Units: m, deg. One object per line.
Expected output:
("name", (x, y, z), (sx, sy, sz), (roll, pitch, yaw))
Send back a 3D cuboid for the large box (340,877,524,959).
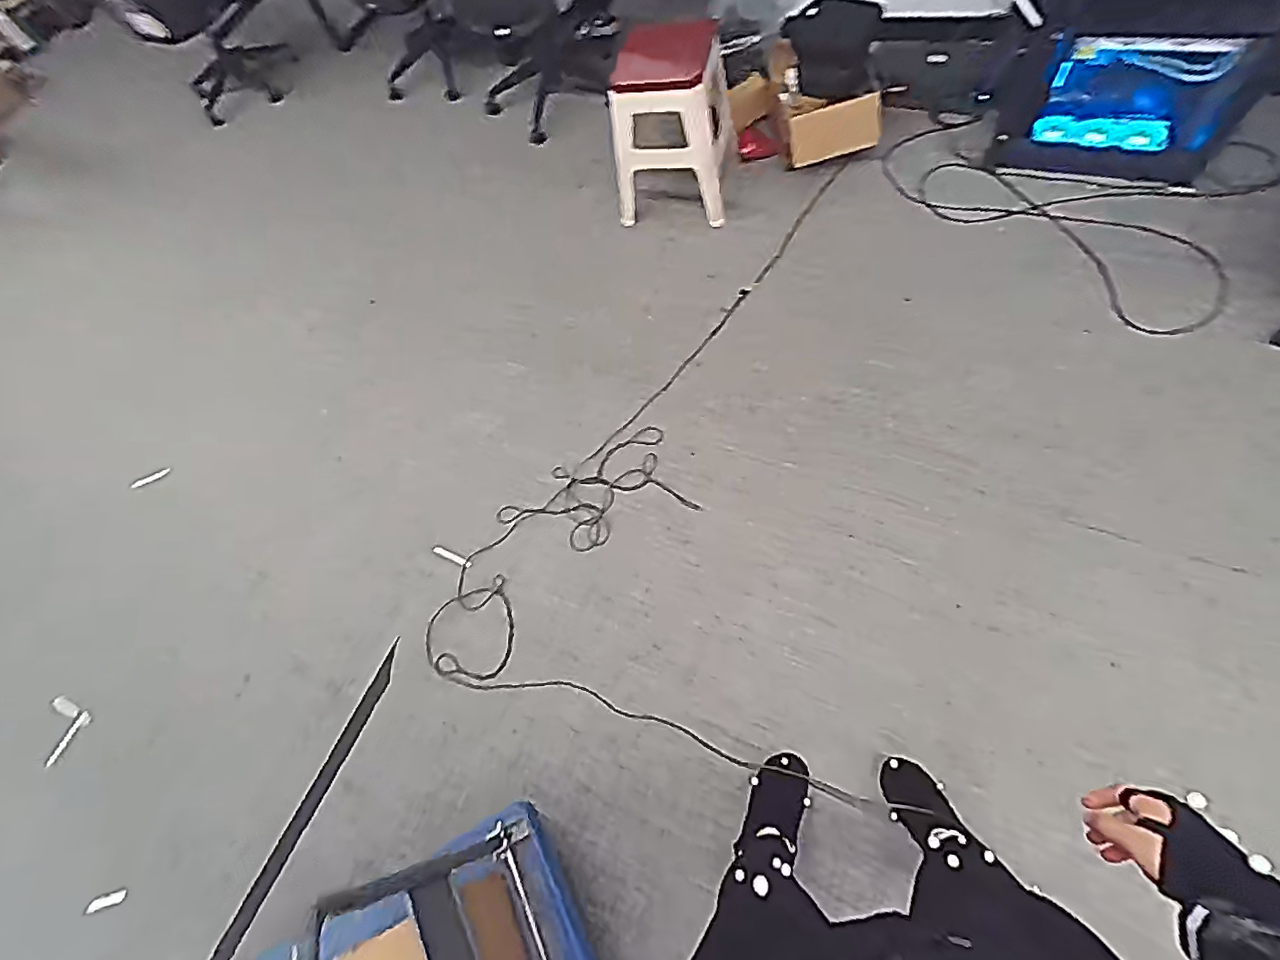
("large box", (-0.360, 0.968, 0.875), (0.320, 0.320, 0.408), (-30, 62, -3))
